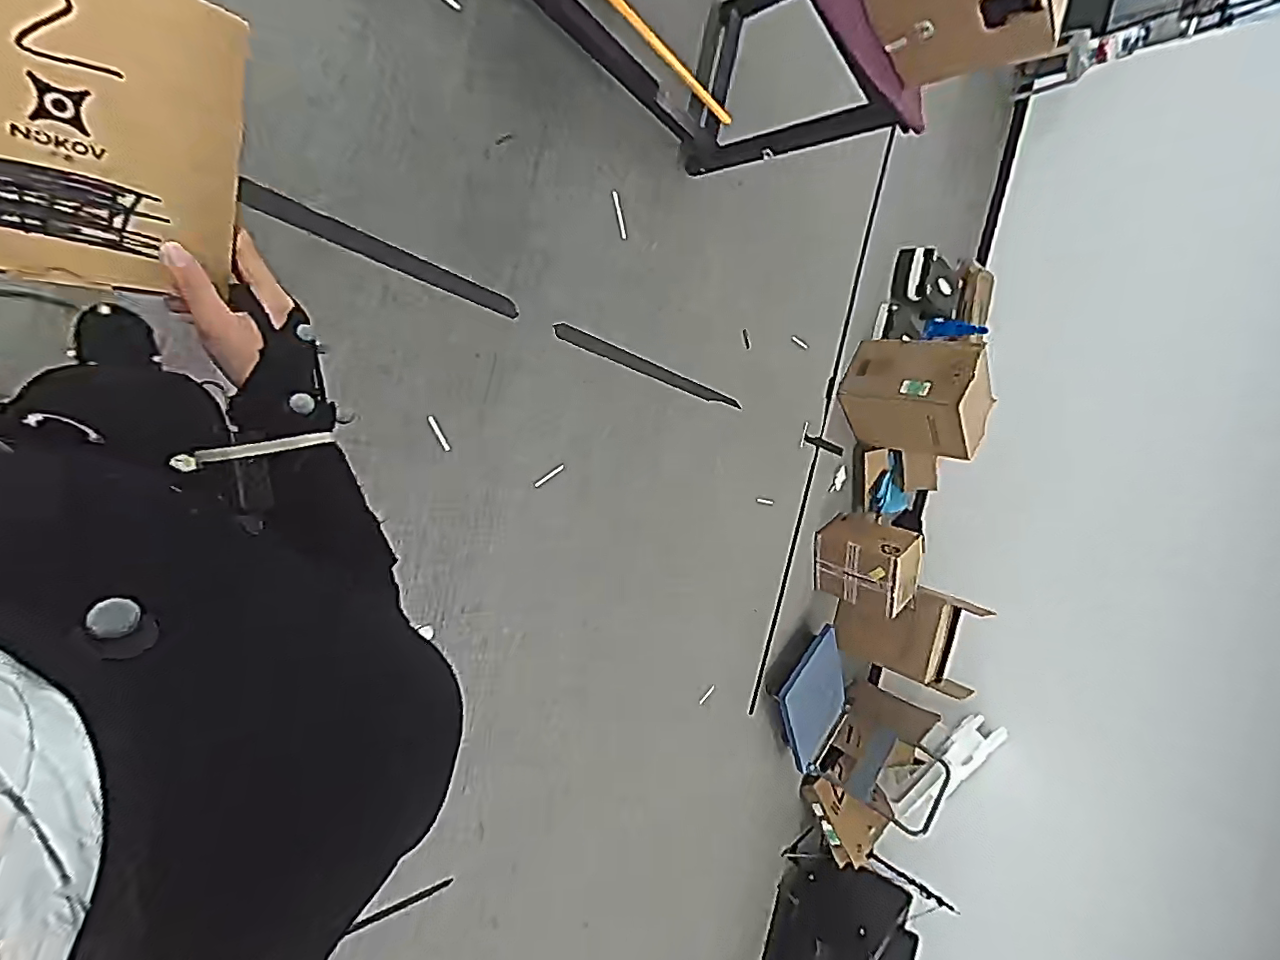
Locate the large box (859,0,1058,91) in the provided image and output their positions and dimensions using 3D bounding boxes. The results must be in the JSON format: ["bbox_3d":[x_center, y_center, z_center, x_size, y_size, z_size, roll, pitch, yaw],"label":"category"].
[{"bbox_3d":[0.702,-1.155,1.142,0.320,0.320,0.408,9,93,-48],"label":"large box"}]
